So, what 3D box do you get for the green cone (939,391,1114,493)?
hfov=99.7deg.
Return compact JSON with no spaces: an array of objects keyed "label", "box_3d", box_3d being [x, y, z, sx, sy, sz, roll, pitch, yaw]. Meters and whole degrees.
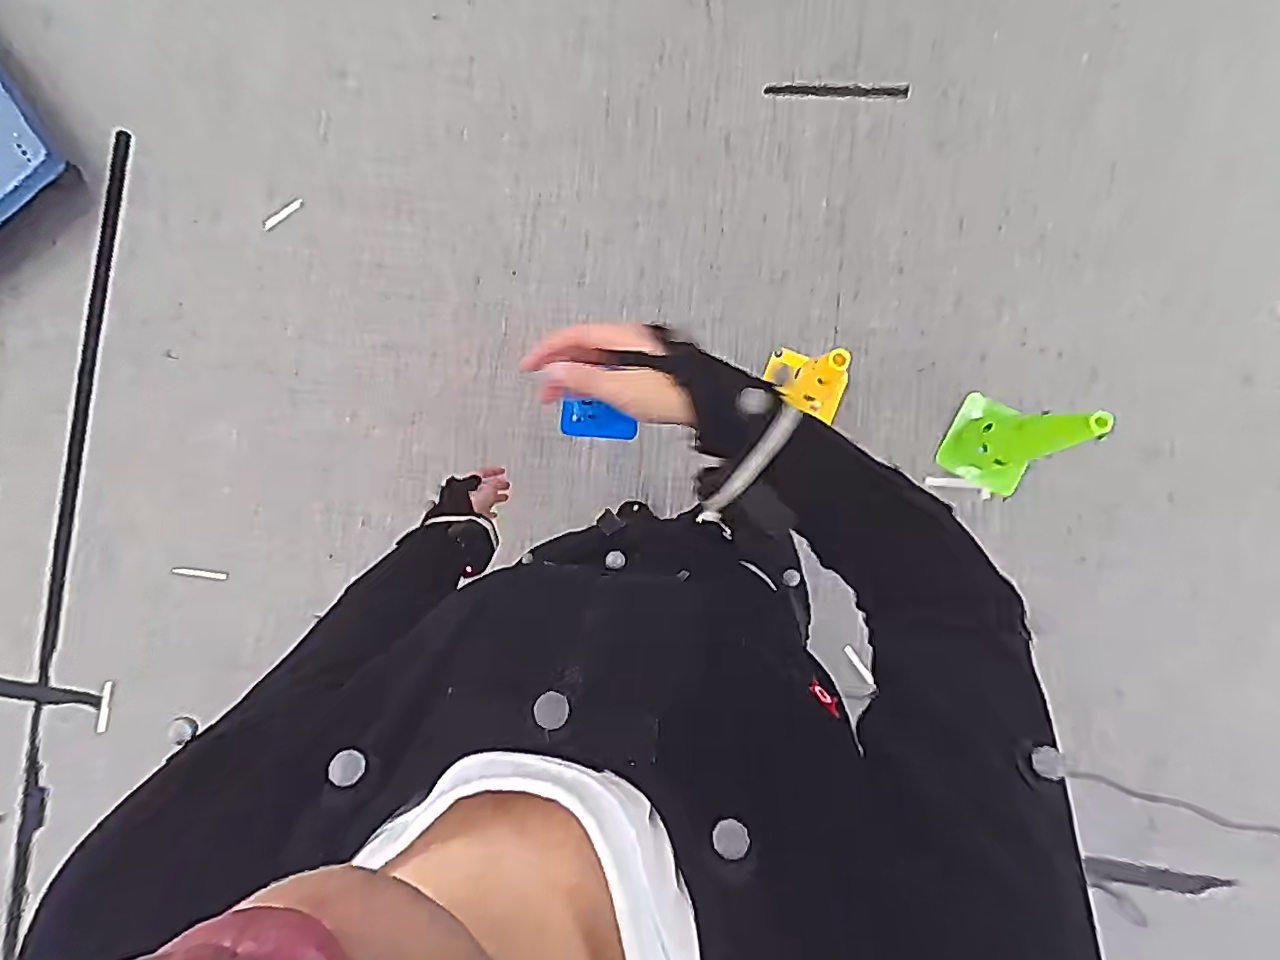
[{"label":"green cone","box_3d":[0.841,-0.099,1.143,0.200,0.368,0.202,27,90,5]}]
